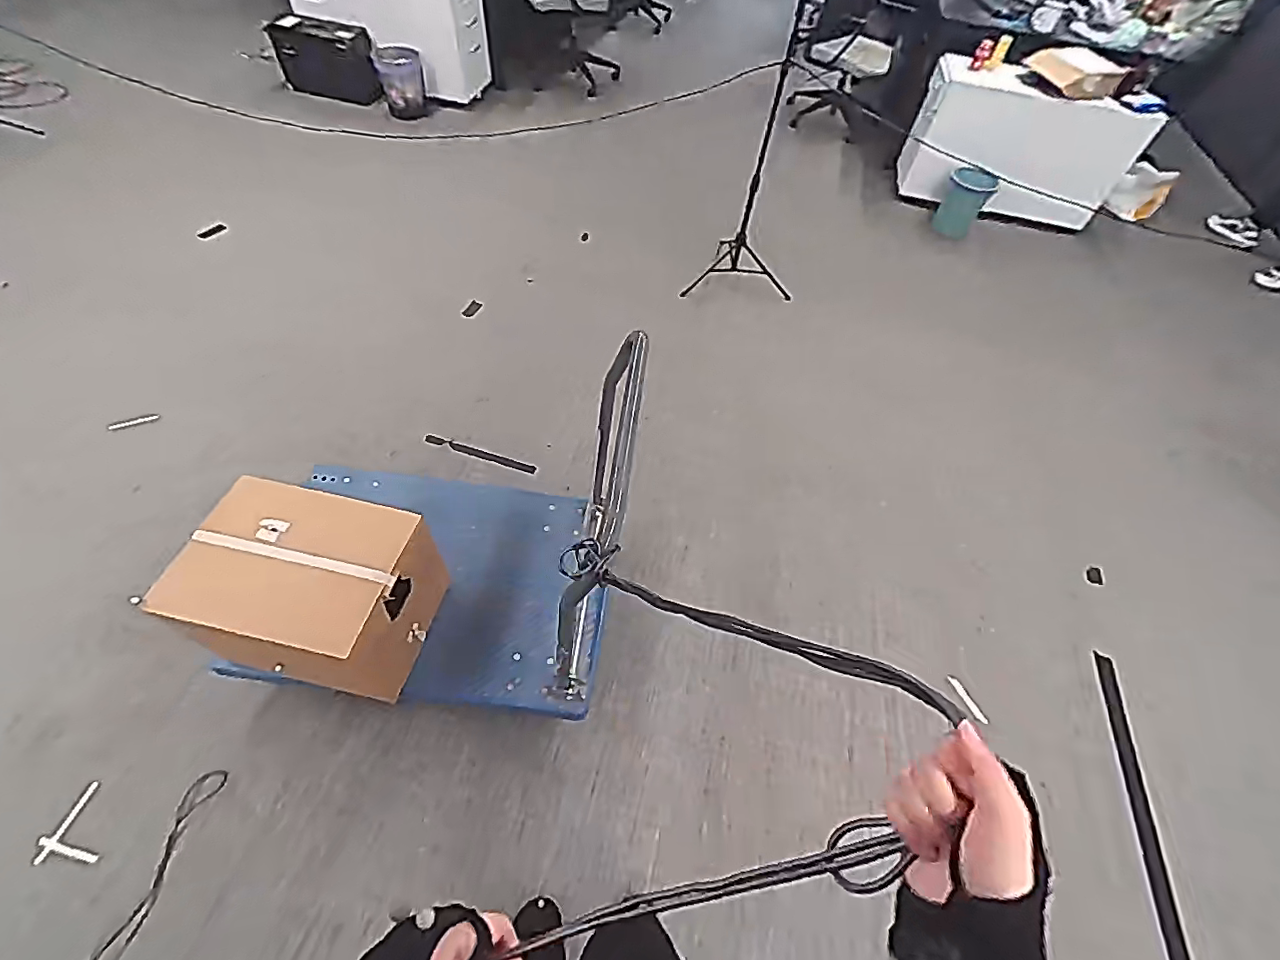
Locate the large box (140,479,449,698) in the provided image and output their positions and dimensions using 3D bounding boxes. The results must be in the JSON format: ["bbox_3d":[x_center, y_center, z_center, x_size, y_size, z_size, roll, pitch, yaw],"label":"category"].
[{"bbox_3d":[-0.686,0.242,1.166,0.408,0.320,0.320,12,53,3],"label":"large box"}]
